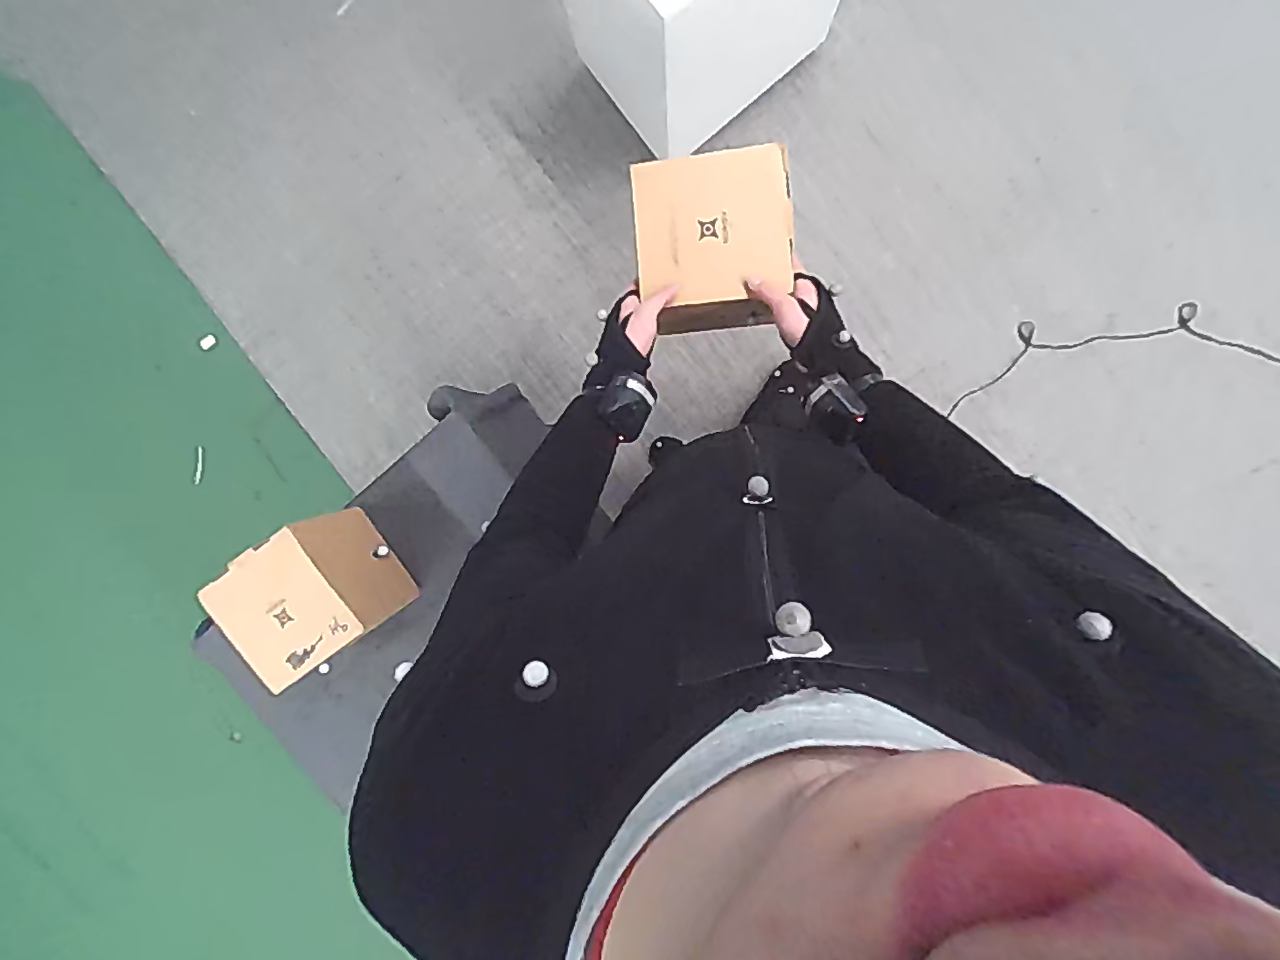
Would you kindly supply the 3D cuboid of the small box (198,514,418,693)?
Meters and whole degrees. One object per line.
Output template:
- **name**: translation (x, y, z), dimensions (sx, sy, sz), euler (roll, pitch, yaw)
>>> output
- **small box**: translation (-0.468, 0.164, 0.792), dimensions (0.168, 0.176, 0.179), euler (-35, 94, 6)

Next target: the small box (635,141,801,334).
- **small box**: translation (0.096, -0.287, 0.678), dimensions (0.179, 0.176, 0.168), euler (-5, 94, 9)
